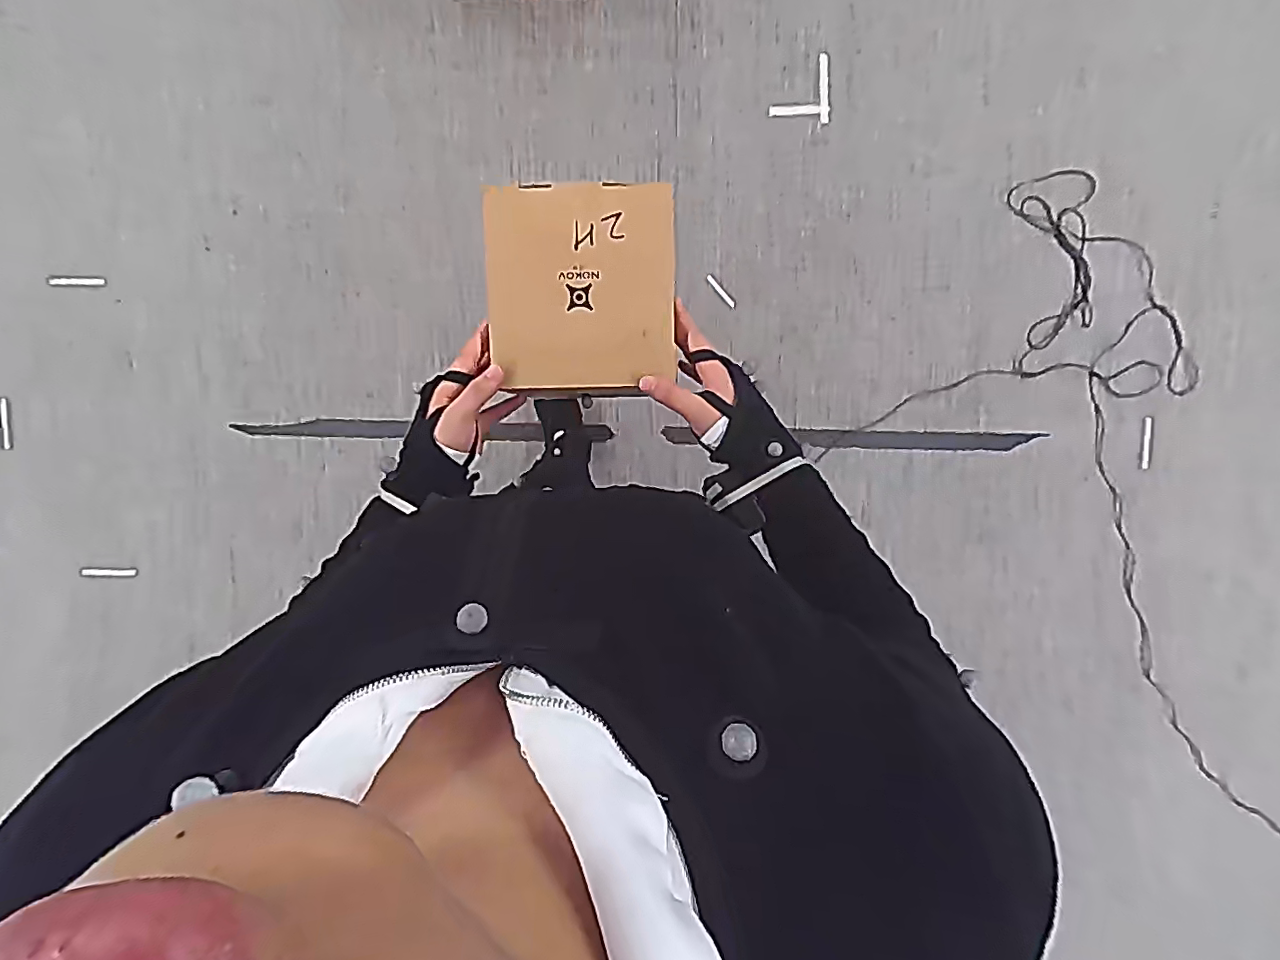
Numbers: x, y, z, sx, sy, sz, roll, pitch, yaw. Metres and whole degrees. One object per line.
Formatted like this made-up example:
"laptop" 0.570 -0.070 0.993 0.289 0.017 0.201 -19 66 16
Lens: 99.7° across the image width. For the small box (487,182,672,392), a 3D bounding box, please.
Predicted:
"small box" -0.053 -0.183 0.563 0.168 0.176 0.179 -1 95 0
